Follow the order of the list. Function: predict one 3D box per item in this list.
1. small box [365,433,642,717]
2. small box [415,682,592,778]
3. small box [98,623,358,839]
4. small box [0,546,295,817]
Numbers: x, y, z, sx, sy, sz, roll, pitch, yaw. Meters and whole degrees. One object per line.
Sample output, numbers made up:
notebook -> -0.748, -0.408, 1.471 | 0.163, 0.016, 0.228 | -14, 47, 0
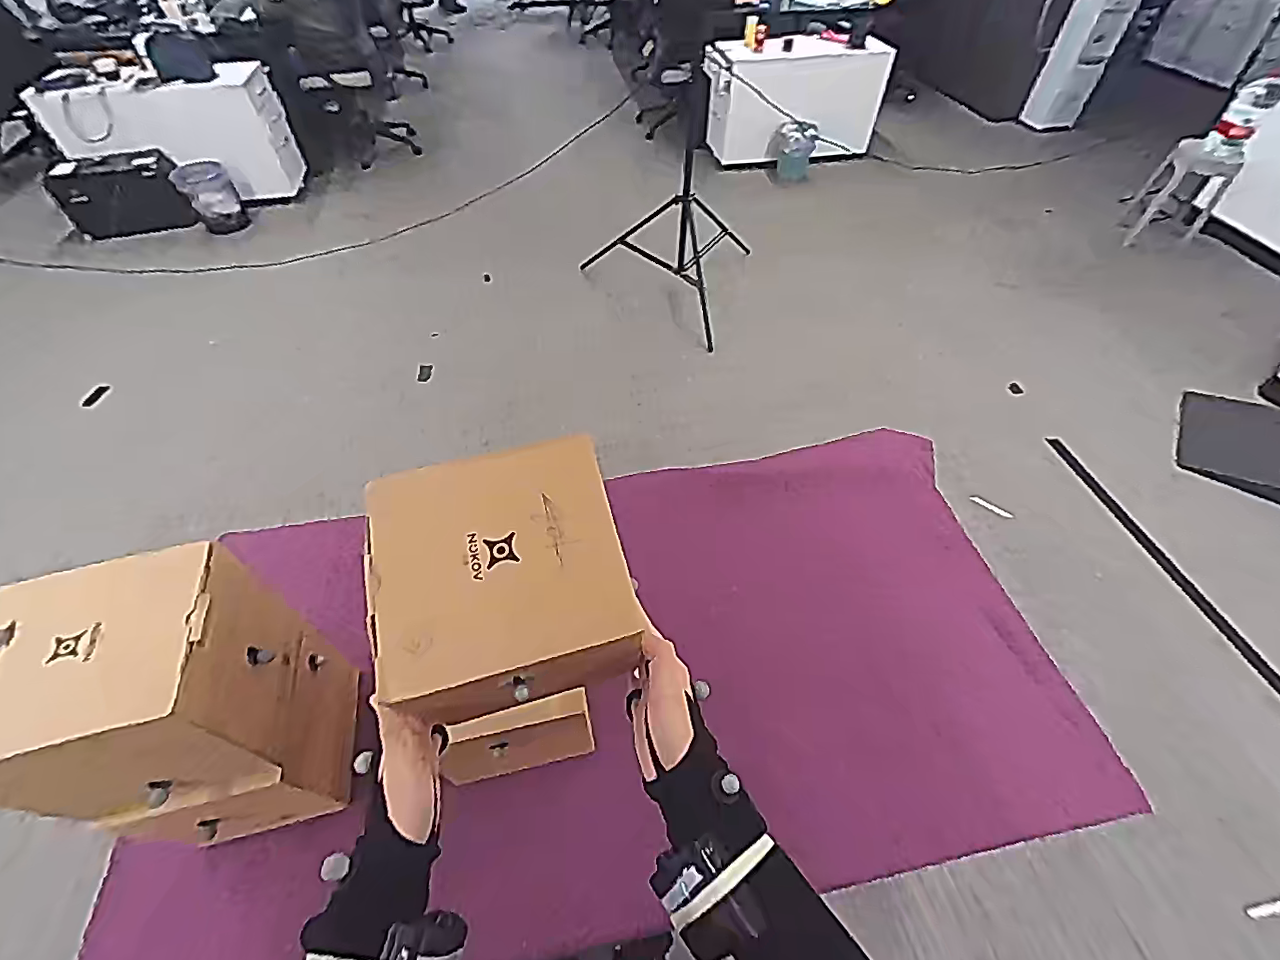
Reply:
small box -> -0.104, 0.088, 0.454 | 0.179, 0.176, 0.168 | -14, 64, -10
small box -> -0.161, 0.248, 0.669 | 0.179, 0.176, 0.168 | -10, 52, -9
small box -> -0.449, 0.297, 0.629 | 0.168, 0.176, 0.179 | -12, 51, -9
small box -> -0.456, 0.189, 0.506 | 0.179, 0.176, 0.168 | -12, 51, -11
